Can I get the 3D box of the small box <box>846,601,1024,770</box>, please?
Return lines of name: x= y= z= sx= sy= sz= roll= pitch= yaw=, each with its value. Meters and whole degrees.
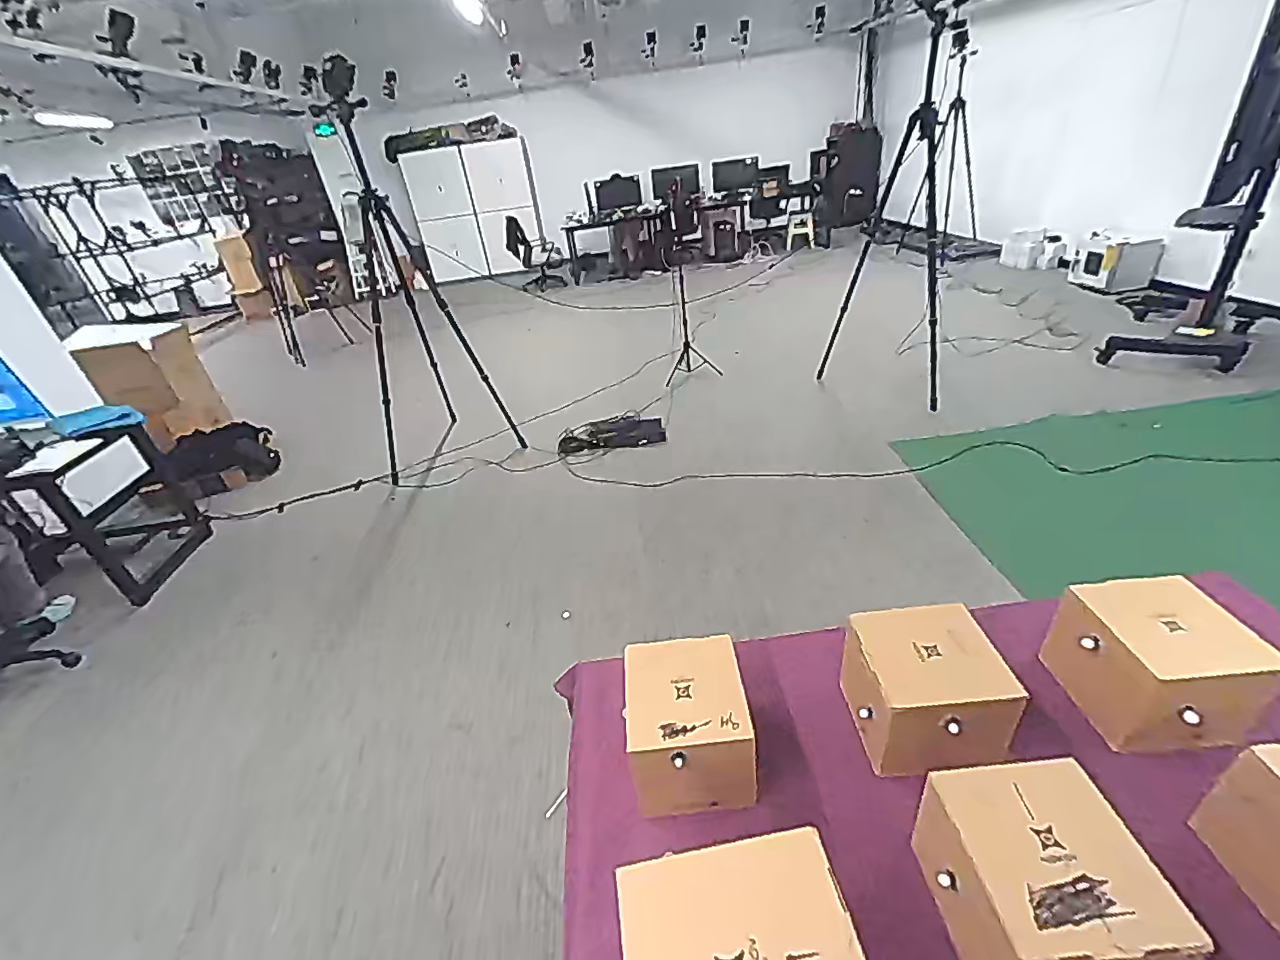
small box: x=0.414 y=0.303 z=0.798 sx=0.179 sy=0.176 sz=0.168 roll=-6 pitch=32 yaw=4

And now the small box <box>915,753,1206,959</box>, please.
small box: x=0.422 y=0.433 z=0.584 sx=0.168 sy=0.176 sz=0.179 roll=-7 pitch=30 yaw=3

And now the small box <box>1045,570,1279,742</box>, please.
small box: x=0.739 y=0.258 z=0.784 sx=0.168 sy=0.176 sz=0.179 roll=-7 pitch=31 yaw=4

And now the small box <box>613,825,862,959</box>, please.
small box: x=0.083 y=0.416 z=0.434 sx=0.179 sy=0.176 sz=0.168 roll=-10 pitch=36 yaw=-2

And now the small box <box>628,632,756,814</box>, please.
small box: x=0.072 y=0.356 z=0.801 sx=0.168 sy=0.176 sz=0.179 roll=-8 pitch=31 yaw=2
